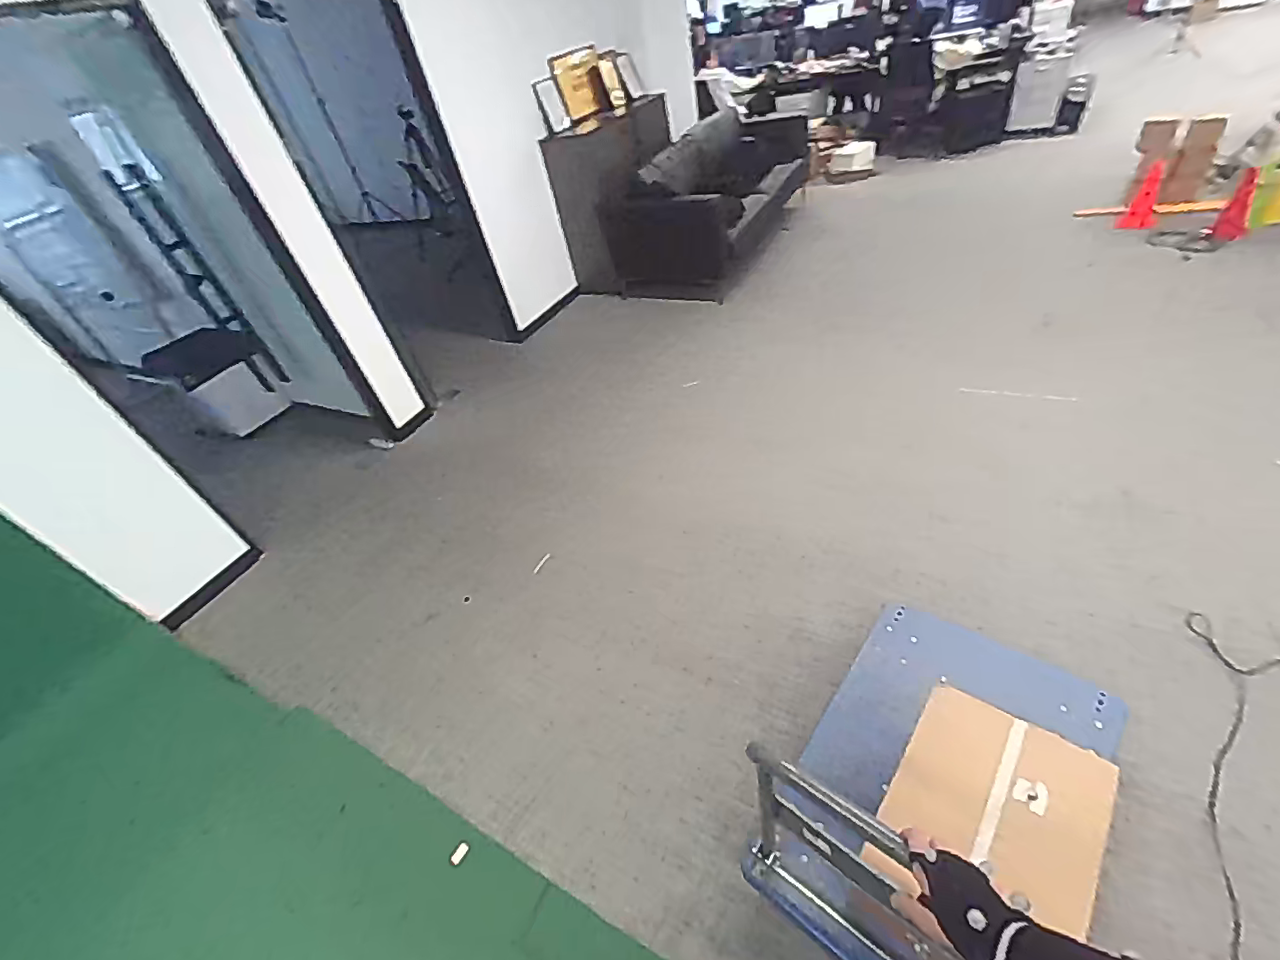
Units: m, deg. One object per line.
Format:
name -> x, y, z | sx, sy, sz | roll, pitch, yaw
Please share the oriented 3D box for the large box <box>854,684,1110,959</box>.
large box -> 0.655, 0.711, 1.068 | 0.320, 0.320, 0.408 | 22, 51, 34
